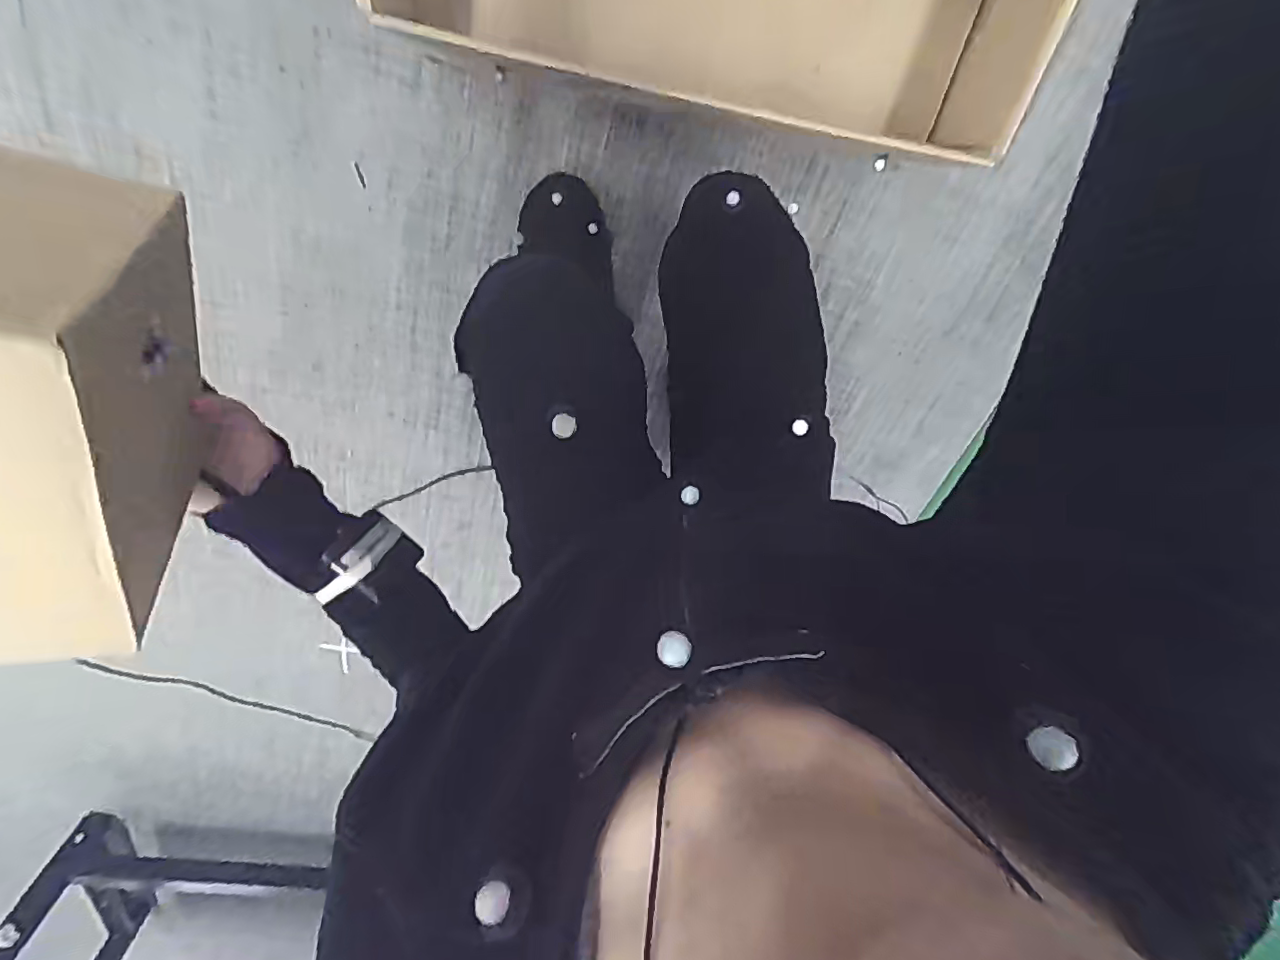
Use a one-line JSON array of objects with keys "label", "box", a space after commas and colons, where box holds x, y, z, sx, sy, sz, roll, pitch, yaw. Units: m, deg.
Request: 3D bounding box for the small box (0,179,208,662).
[{"label": "small box", "box": [-0.318, -0.036, 0.245, 0.168, 0.176, 0.179, 6, 128, -29]}]
